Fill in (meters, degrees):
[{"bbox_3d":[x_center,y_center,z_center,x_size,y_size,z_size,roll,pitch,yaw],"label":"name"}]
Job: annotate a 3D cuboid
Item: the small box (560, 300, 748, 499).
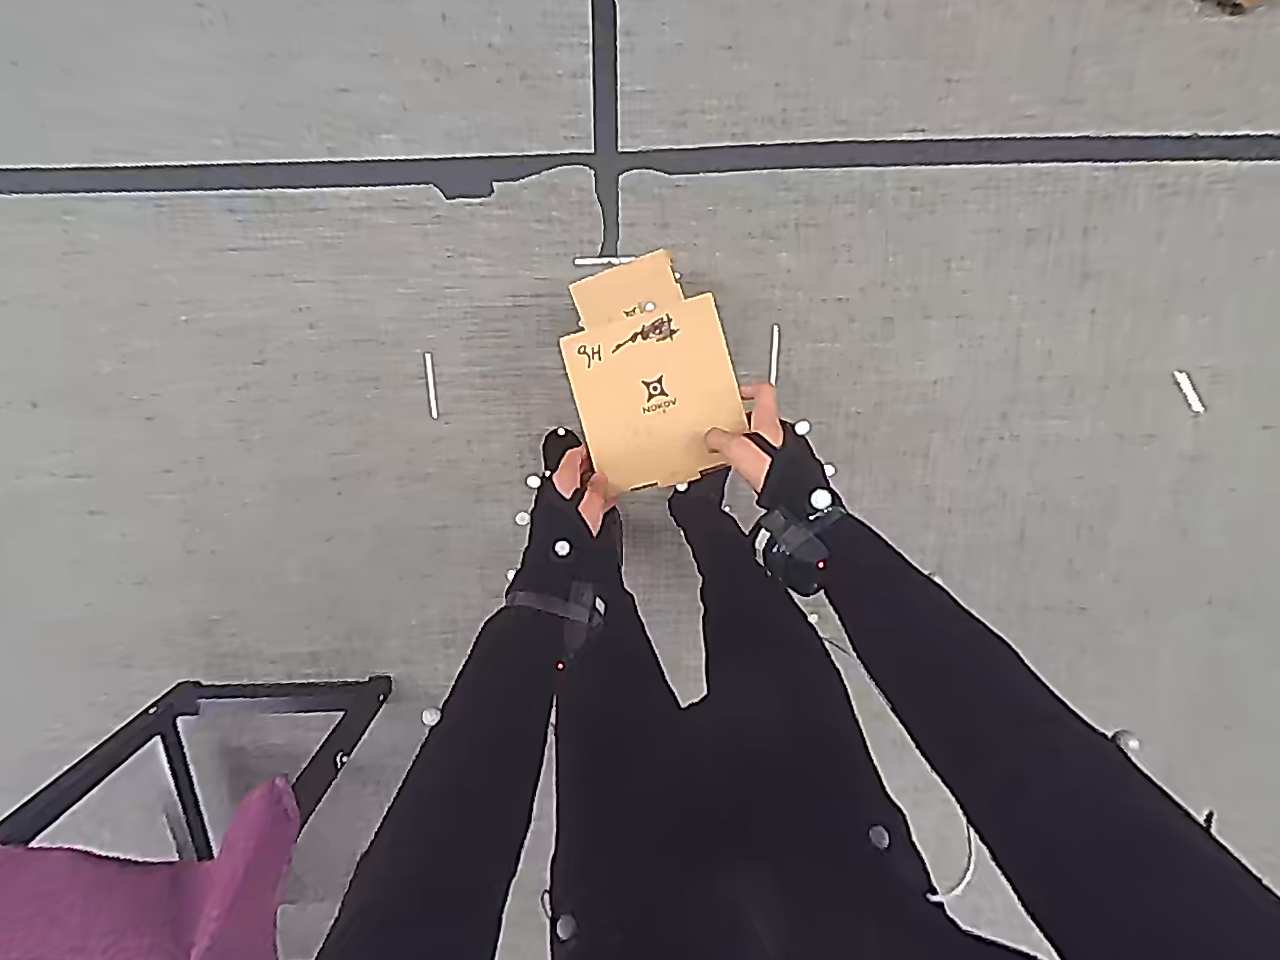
[{"bbox_3d":[0.022,-0.087,0.642,0.168,0.176,0.179,-15,91,5],"label":"small box"}]
